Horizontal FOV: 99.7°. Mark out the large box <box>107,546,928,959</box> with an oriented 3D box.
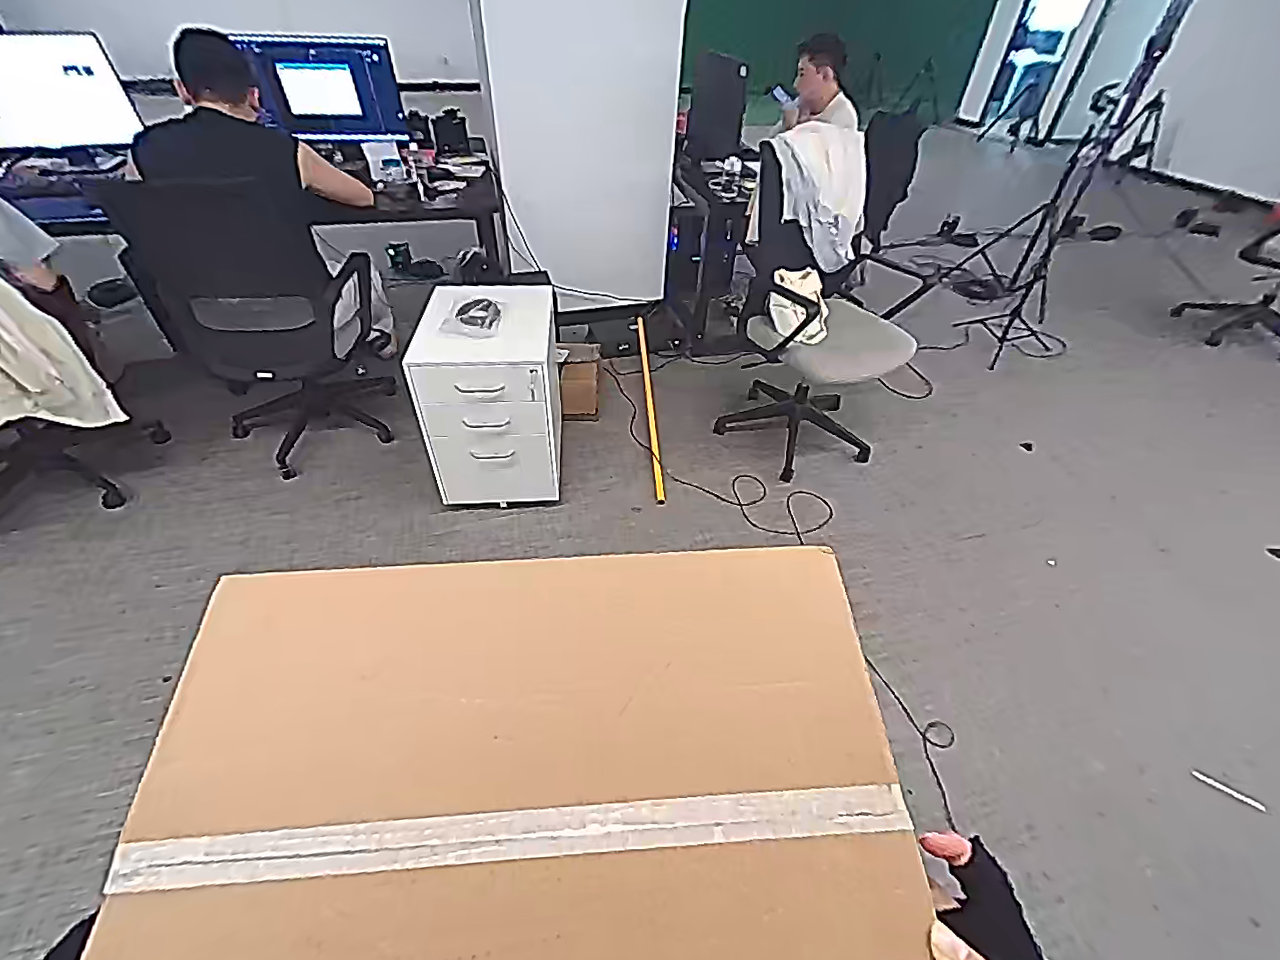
[{"bbox_3d":[-0.064,0.267,0.418,0.408,0.320,0.320,-3,58,-3],"label":"large box"}]
